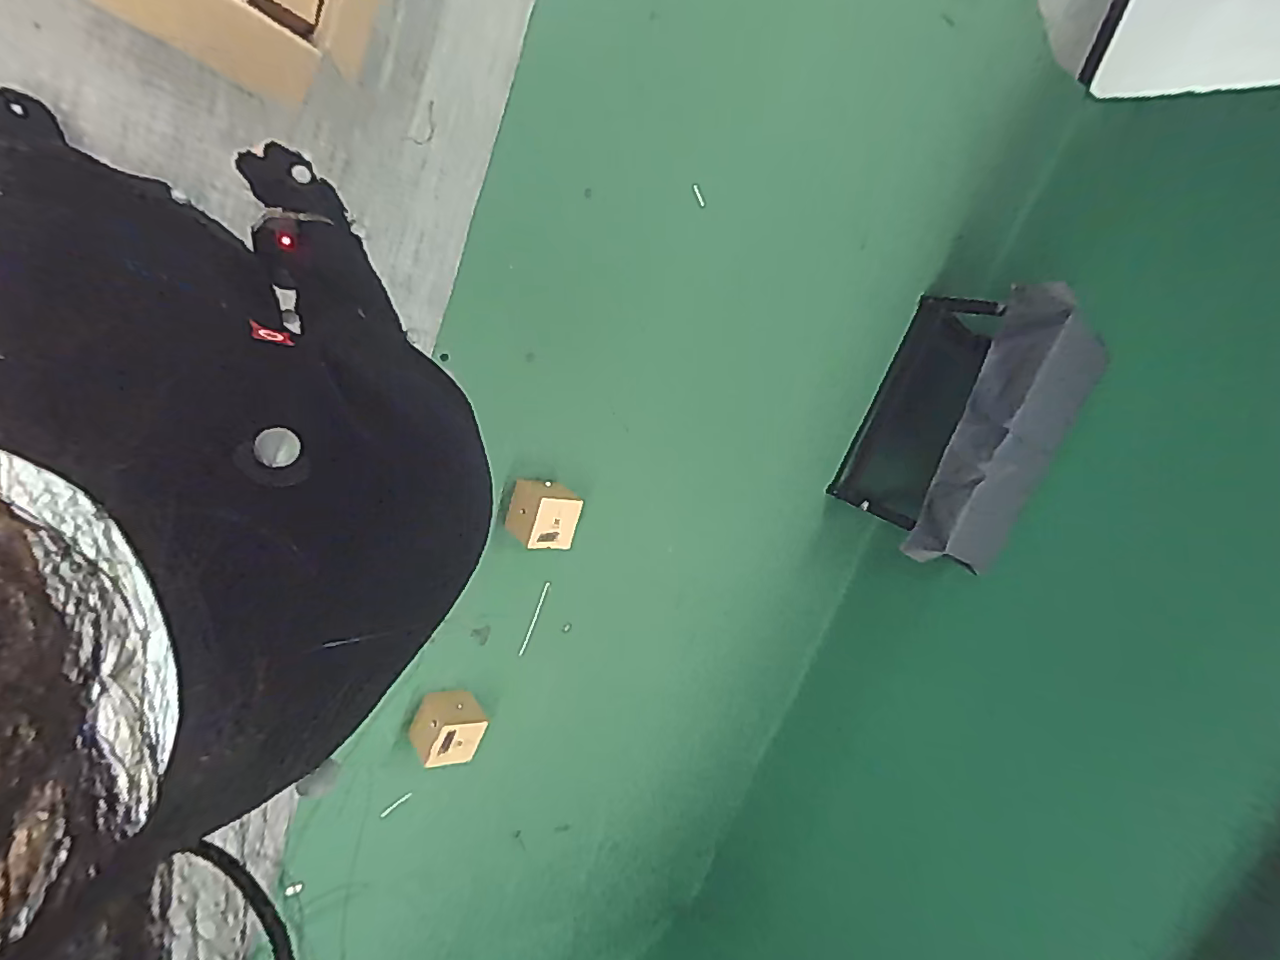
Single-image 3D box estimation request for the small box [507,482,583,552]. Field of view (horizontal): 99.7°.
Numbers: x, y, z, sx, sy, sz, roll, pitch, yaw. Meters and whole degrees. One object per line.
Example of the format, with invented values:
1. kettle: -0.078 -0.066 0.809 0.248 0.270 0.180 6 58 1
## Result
1. small box: -0.319 0.122 1.785 0.168 0.176 0.179 8 105 -43
